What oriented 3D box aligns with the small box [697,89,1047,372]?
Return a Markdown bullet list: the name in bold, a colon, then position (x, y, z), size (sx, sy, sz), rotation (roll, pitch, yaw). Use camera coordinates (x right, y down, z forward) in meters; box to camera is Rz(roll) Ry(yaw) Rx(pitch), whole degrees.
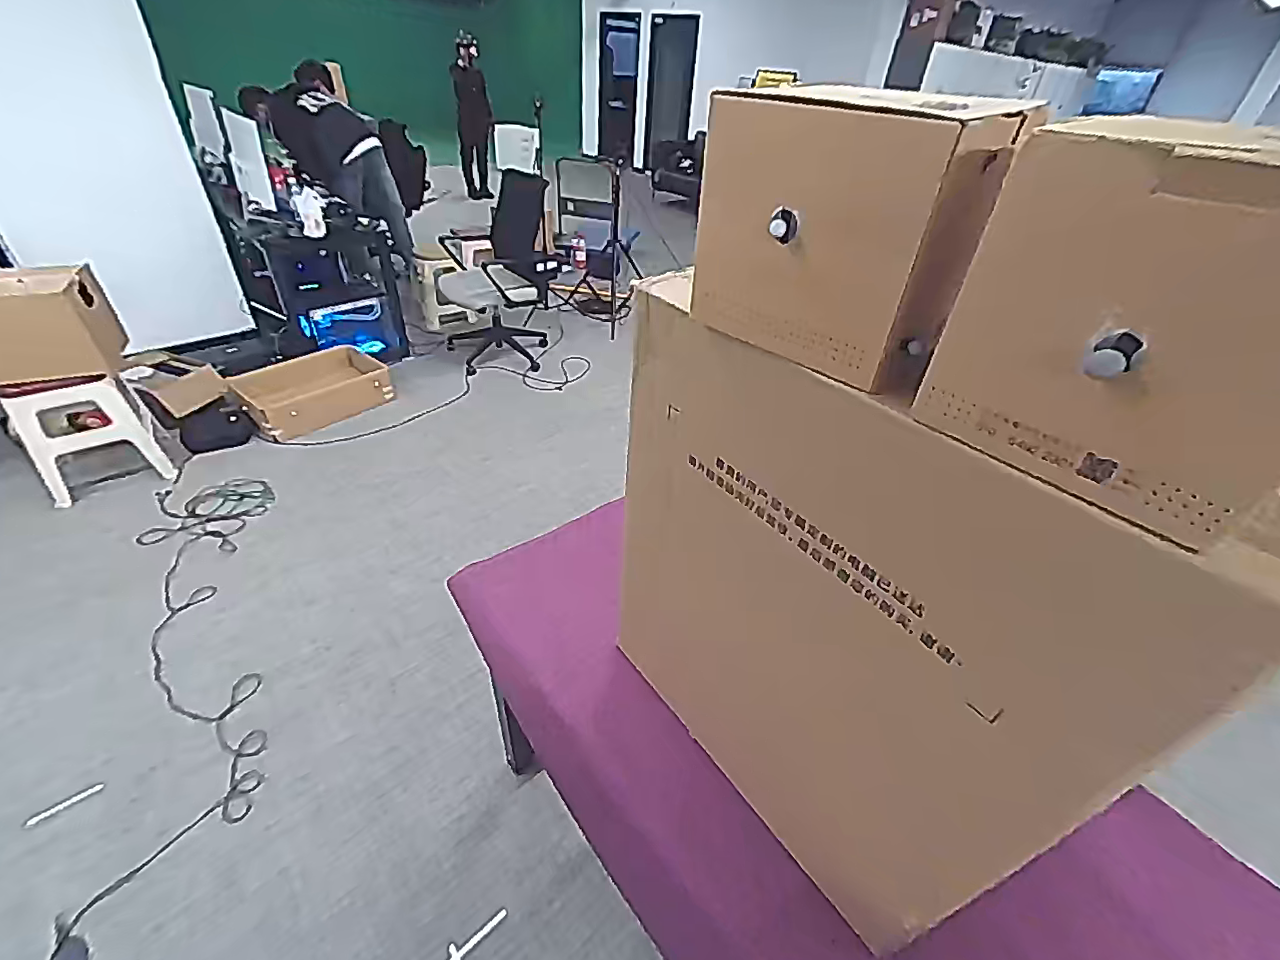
- **small box**: position (0.165, -0.200, 0.428), size (0.168, 0.176, 0.179), rotation (-29, 47, -35)
